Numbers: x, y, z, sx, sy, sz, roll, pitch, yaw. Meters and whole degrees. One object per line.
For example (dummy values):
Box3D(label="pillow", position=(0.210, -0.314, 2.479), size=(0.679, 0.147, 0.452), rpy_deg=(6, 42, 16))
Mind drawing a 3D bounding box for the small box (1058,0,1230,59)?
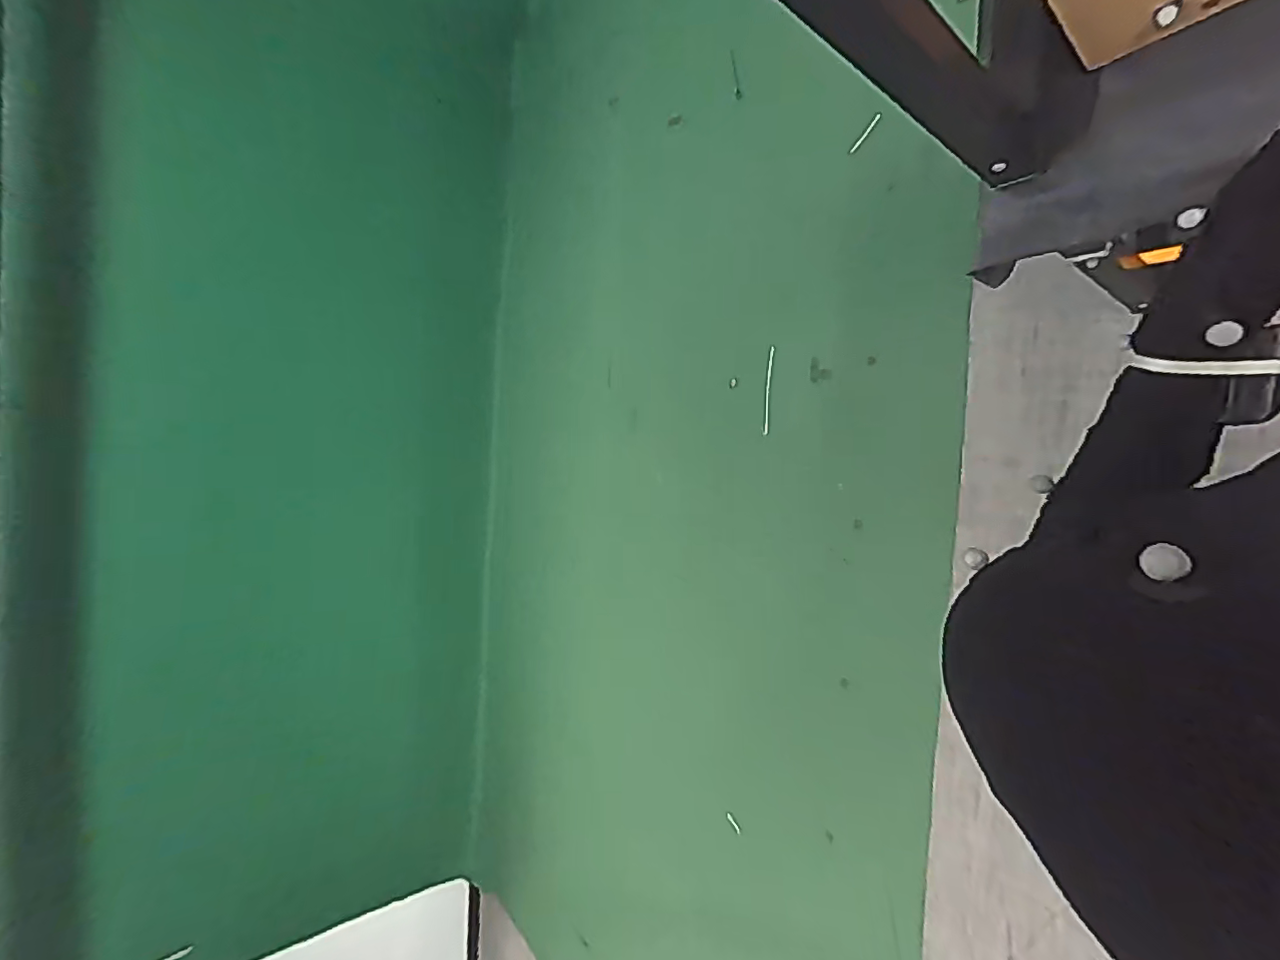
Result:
Box3D(label="small box", position=(0.515, -0.575, 0.526), size=(0.168, 0.176, 0.179), rpy_deg=(1, 90, 53))
